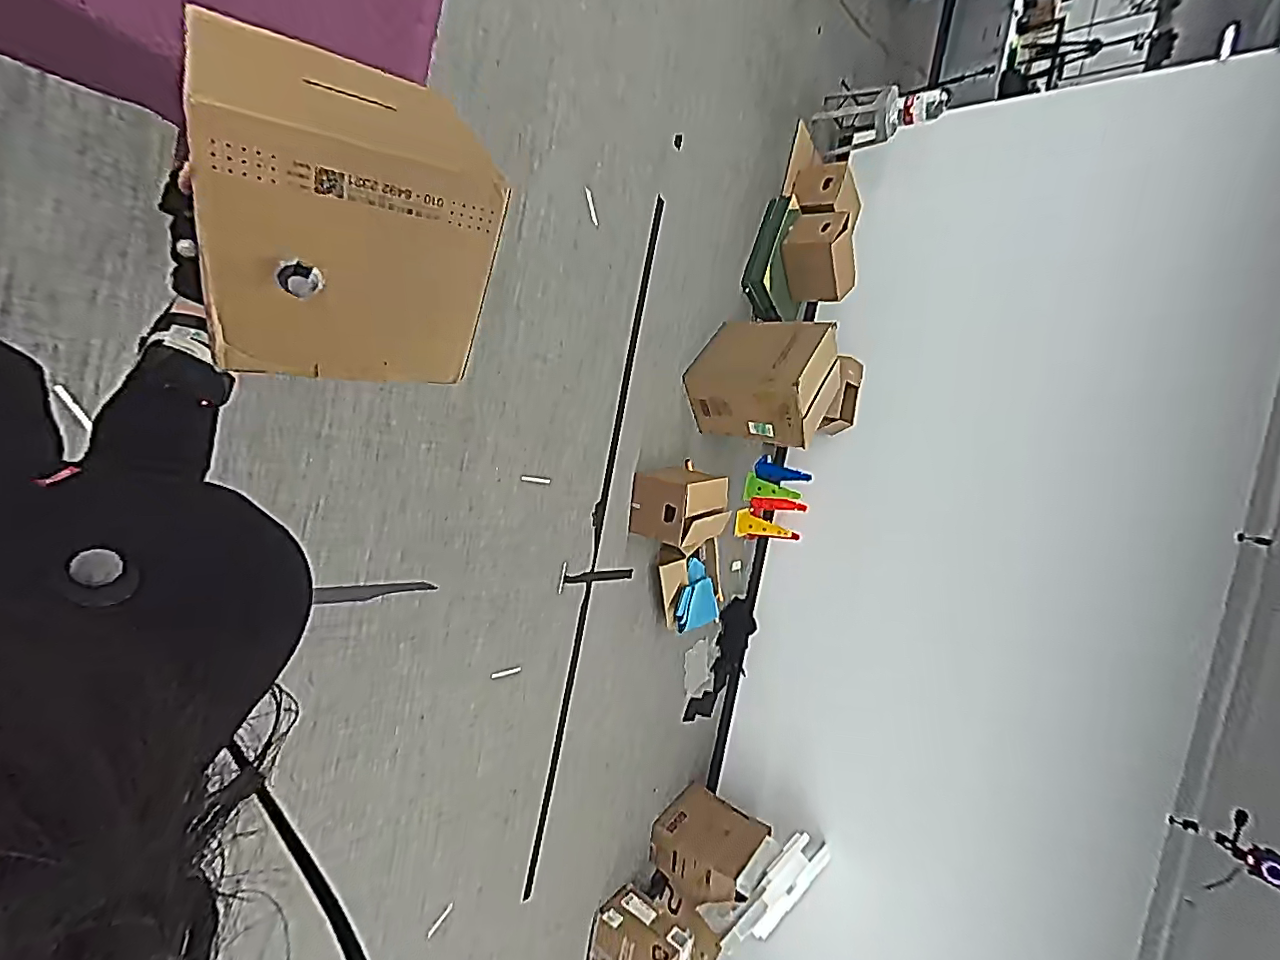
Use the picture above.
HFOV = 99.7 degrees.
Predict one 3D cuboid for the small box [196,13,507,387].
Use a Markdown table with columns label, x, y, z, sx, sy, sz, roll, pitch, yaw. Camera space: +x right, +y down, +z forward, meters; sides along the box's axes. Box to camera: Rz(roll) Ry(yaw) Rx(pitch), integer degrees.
| label | x | y | z | sx | sy | sz | roll | pitch | yaw |
| --- | --- | --- | --- | --- | --- | --- | --- | --- | --- |
| small box | -0.212 | -0.190 | 0.392 | 0.168 | 0.179 | 0.176 | -2 | 138 | -38 |
